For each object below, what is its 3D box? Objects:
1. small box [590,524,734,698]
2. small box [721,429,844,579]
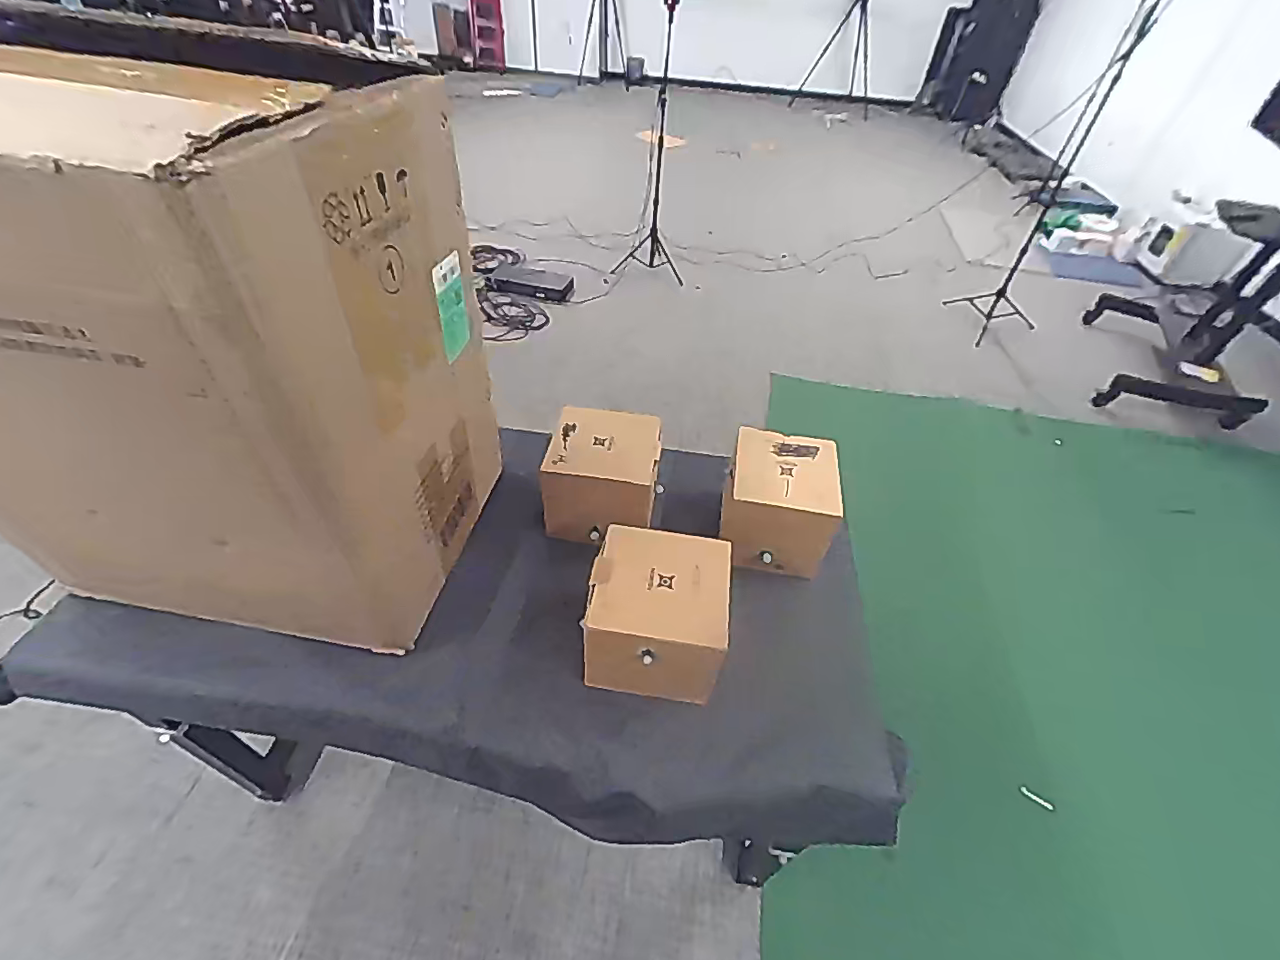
[{"bbox_3d":[0.030,0.188,0.764,0.179,0.176,0.168,9,46,3],"label":"small box"},{"bbox_3d":[0.235,0.041,0.926,0.168,0.176,0.179,10,46,5],"label":"small box"}]
